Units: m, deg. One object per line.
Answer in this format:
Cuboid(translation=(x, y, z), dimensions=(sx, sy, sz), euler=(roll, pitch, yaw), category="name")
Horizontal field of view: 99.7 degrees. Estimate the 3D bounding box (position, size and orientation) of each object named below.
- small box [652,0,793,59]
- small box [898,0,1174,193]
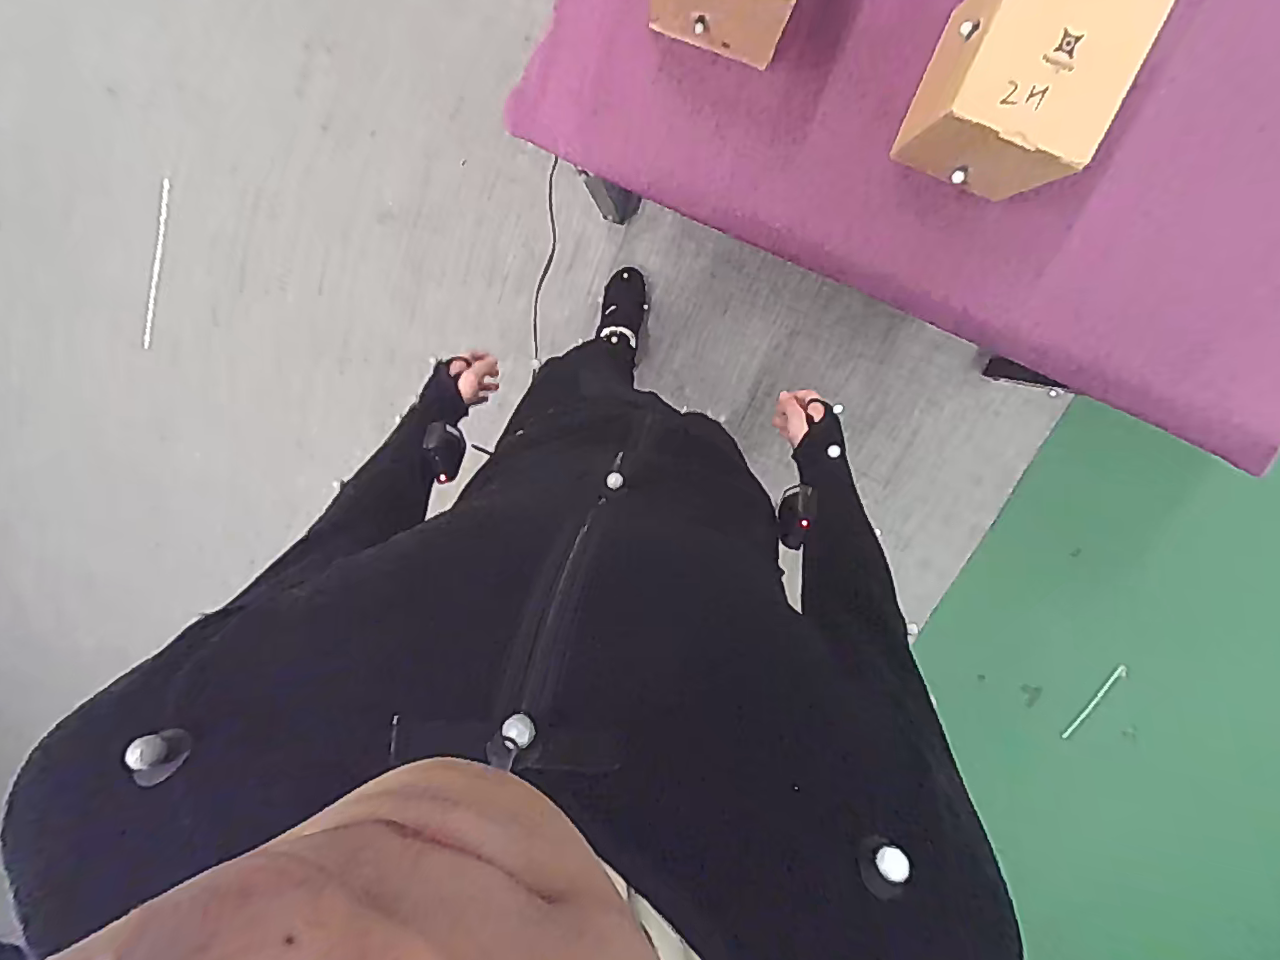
Cuboid(translation=(0.110, -0.625, 0.600), dimensions=(0.168, 0.176, 0.179), euler=(17, 107, -3), category="small box")
Cuboid(translation=(0.437, -0.469, 0.632), dimensions=(0.168, 0.176, 0.179), euler=(20, 106, -3), category="small box")
